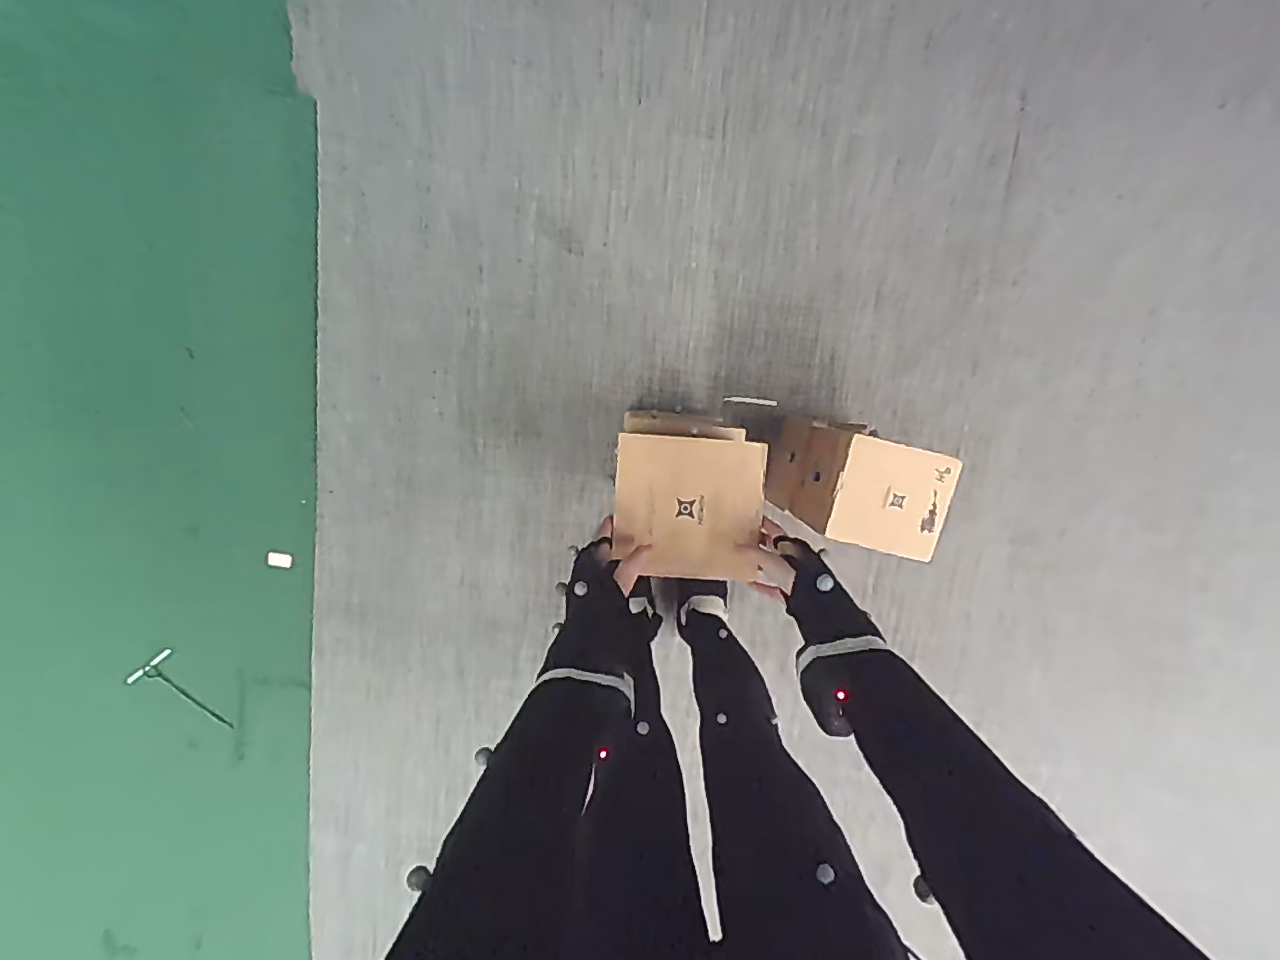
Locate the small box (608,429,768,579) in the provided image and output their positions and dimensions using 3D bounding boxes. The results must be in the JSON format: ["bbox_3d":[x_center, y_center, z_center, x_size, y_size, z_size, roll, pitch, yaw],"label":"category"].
[{"bbox_3d":[0.053,0.025,0.708,0.179,0.176,0.168,5,92,-2],"label":"small box"}]

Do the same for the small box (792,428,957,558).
[{"bbox_3d":[0.372,0.013,0.896,0.179,0.176,0.168,14,98,-2],"label":"small box"}]

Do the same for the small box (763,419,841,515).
[{"bbox_3d":[0.355,-0.017,1.057,0.168,0.176,0.179,14,99,-3],"label":"small box"}]
